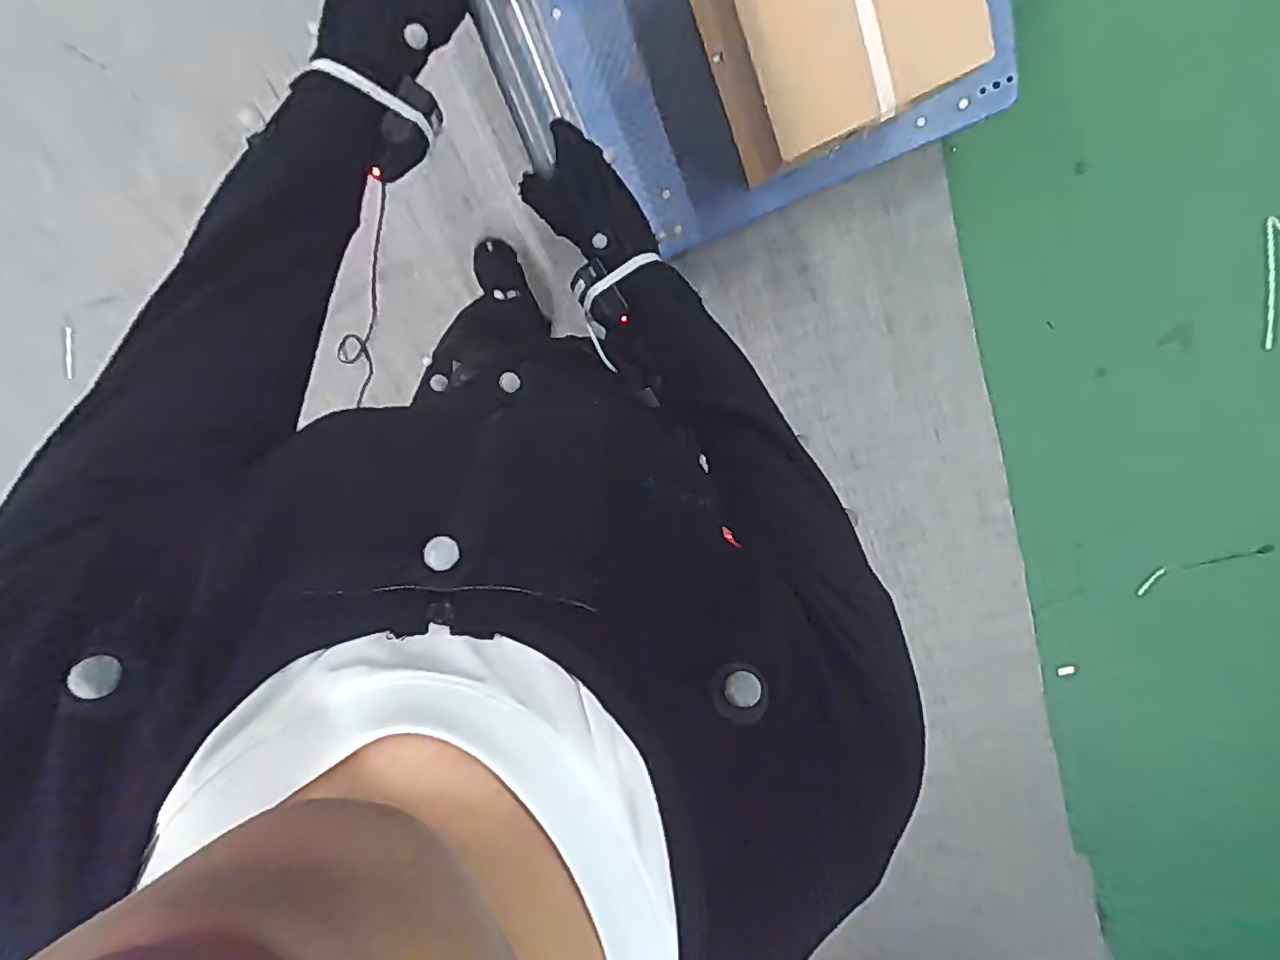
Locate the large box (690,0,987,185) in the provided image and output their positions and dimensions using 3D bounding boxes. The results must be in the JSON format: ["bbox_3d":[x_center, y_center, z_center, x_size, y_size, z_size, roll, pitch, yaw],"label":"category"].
[{"bbox_3d":[0.277,-0.762,0.864,0.320,0.320,0.408,-22,109,10],"label":"large box"}]
